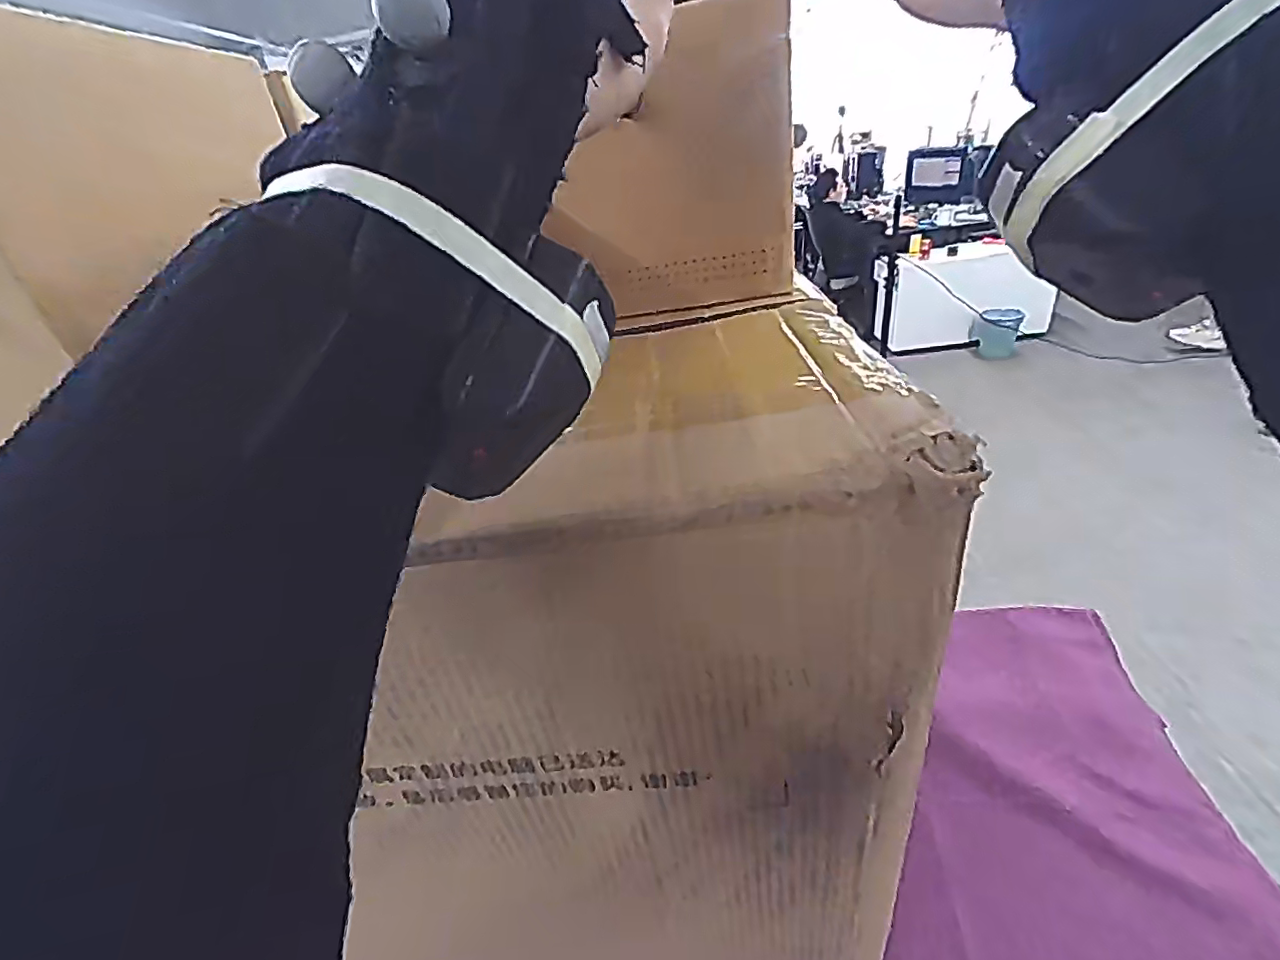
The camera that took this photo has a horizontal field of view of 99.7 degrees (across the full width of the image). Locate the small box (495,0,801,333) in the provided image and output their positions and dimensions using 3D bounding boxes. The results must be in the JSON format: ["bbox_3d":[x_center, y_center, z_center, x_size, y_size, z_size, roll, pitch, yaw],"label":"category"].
[{"bbox_3d":[0.022,-0.223,0.407,0.179,0.176,0.168,-5,31,11],"label":"small box"}]
